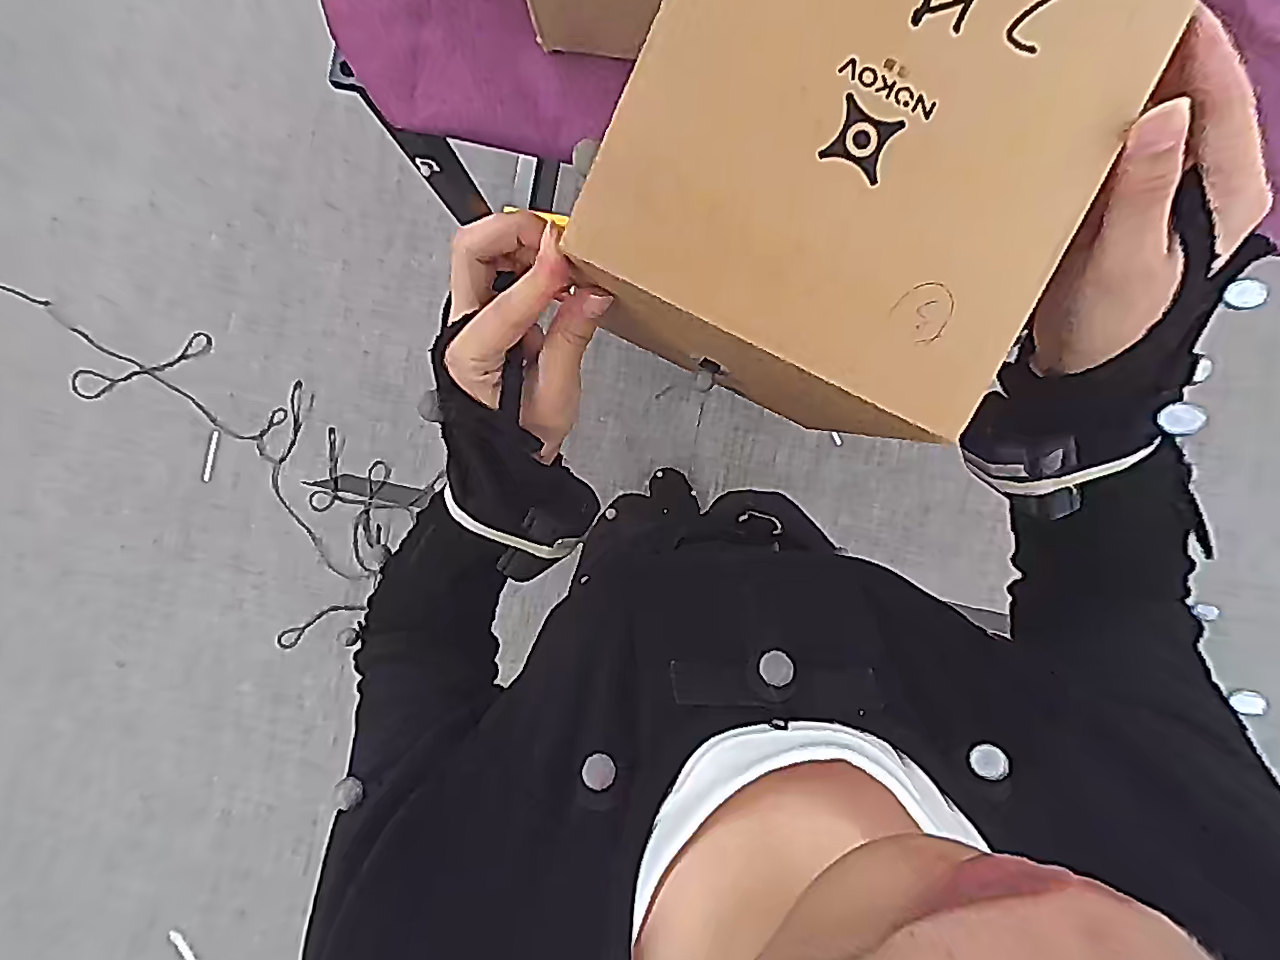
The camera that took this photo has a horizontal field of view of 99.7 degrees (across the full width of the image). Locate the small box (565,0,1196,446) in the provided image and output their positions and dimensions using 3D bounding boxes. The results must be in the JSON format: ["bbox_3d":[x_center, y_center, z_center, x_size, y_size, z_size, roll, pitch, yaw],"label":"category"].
[{"bbox_3d":[0.081,-0.134,0.269,0.168,0.176,0.179,26,96,-4],"label":"small box"}]
